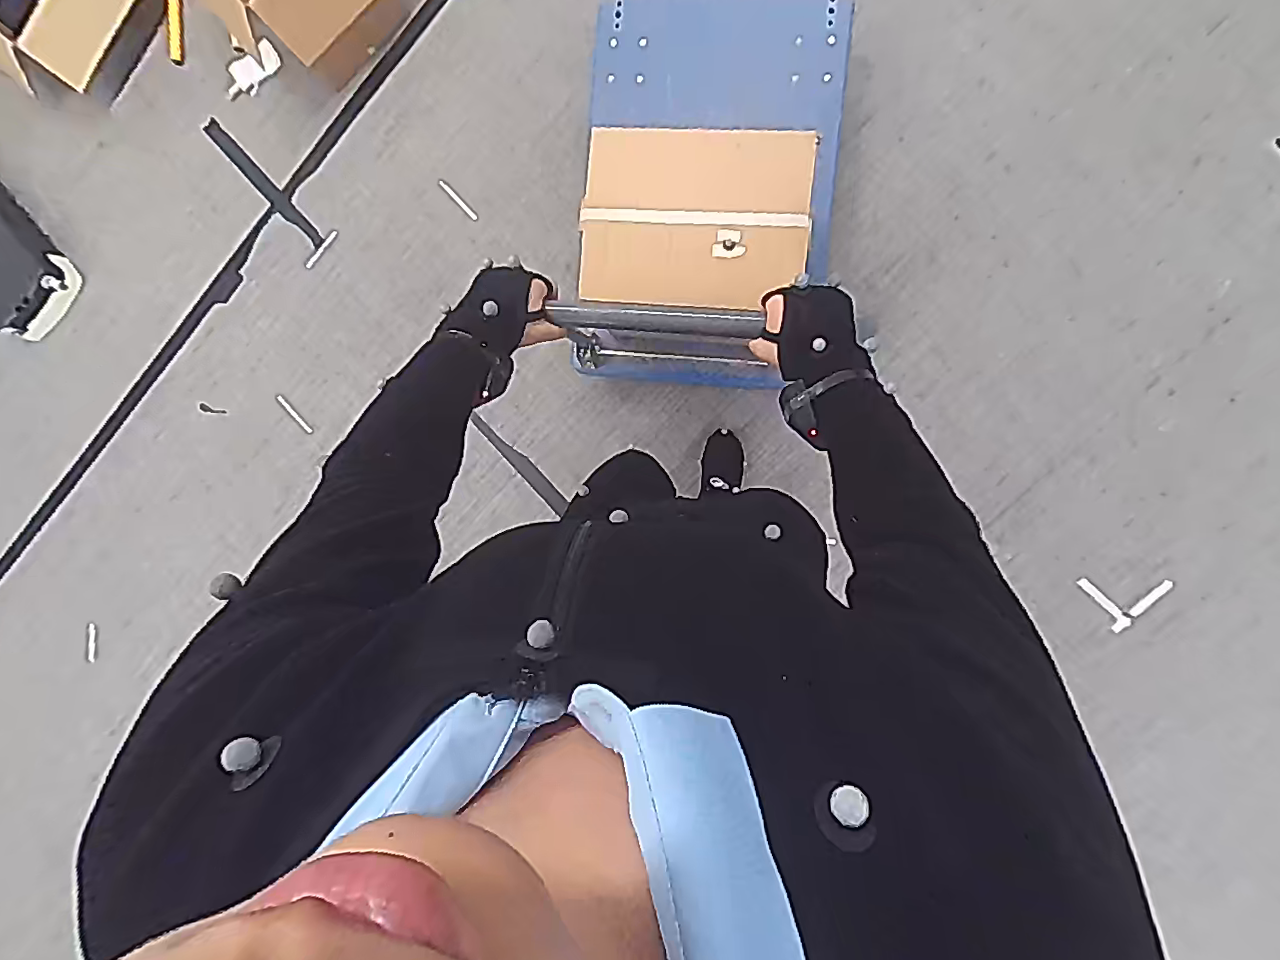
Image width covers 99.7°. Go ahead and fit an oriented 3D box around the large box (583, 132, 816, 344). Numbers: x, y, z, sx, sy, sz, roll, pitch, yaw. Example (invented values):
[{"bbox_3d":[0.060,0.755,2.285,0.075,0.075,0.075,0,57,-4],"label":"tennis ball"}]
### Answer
[{"bbox_3d":[0.116,-0.474,1.121,0.408,0.320,0.320,5,94,6],"label":"large box"}]
